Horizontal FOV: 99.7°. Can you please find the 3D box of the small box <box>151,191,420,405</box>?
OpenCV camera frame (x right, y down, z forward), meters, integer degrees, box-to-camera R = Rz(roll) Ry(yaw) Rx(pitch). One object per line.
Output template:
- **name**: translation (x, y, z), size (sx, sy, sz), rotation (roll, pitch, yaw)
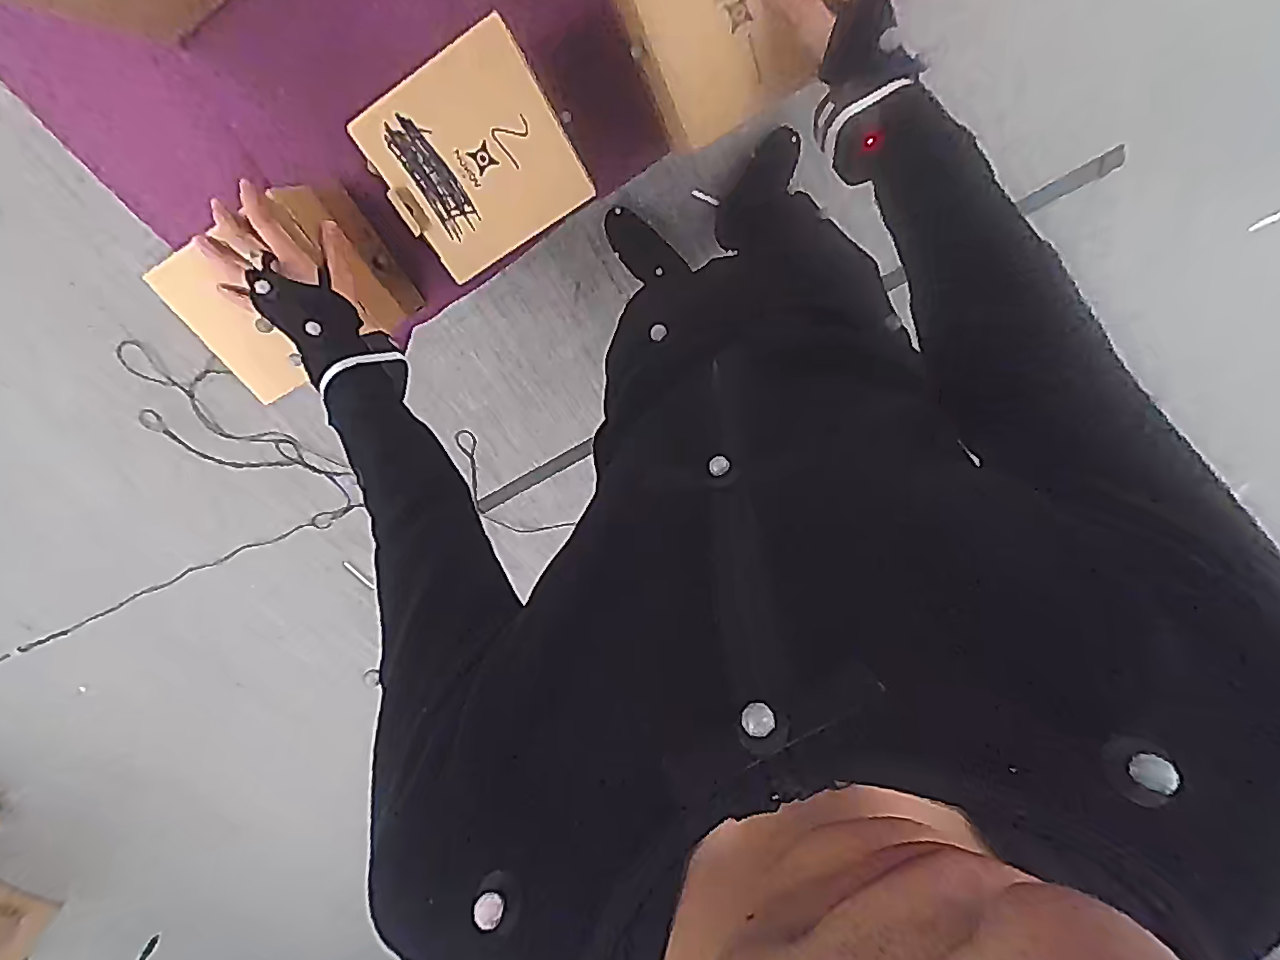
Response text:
- **small box**: translation (-0.399, -0.222, 0.648), size (0.179, 0.176, 0.168), rotation (-27, 118, 9)
